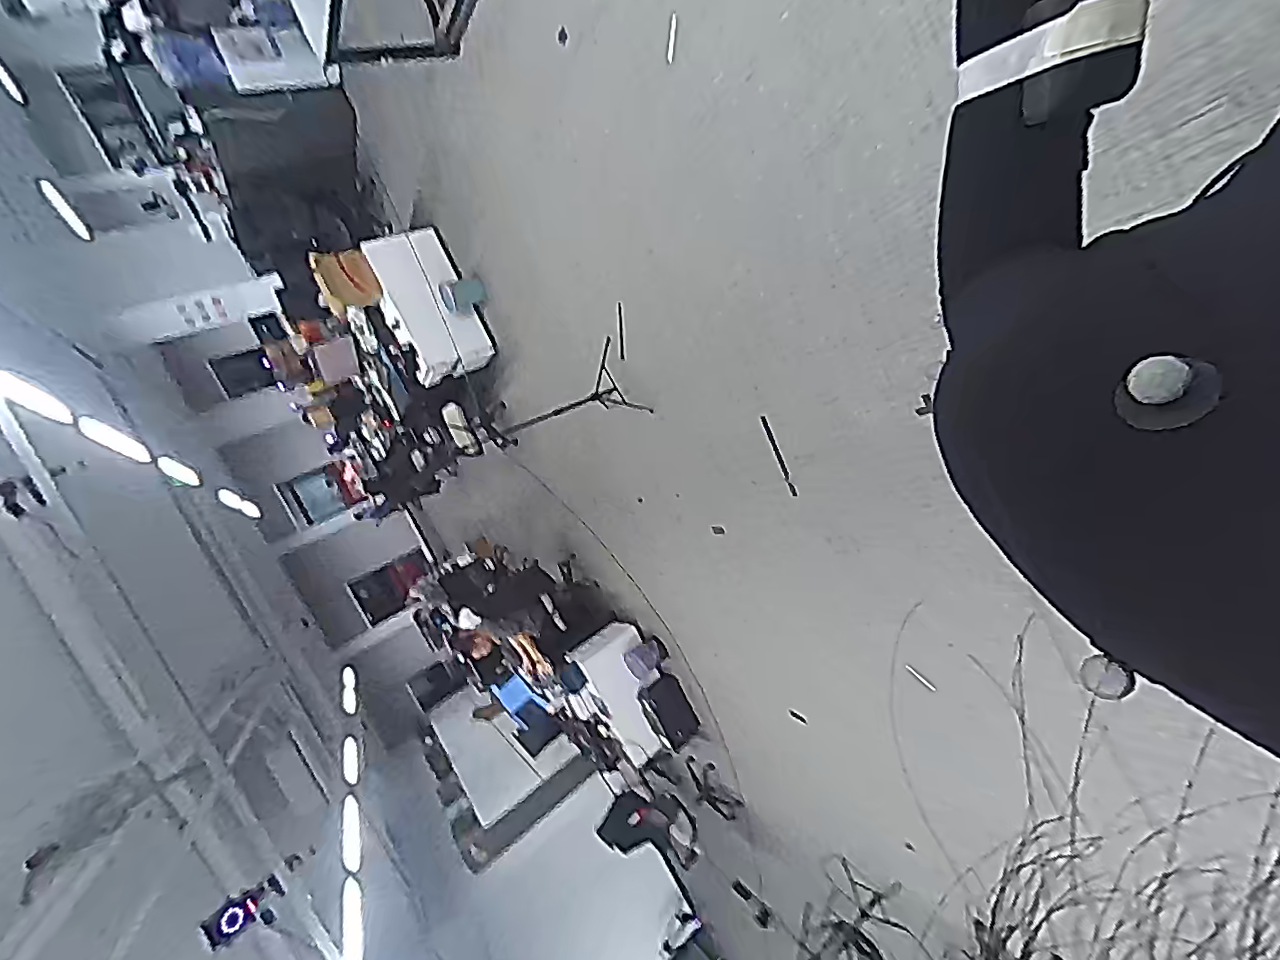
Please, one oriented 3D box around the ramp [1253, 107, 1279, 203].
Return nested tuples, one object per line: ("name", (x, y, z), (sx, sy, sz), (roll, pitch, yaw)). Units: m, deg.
("ramp", (1.444, -0.249, 0.814), (0.509, 0.206, 0.991), (-18, 101, 59))
